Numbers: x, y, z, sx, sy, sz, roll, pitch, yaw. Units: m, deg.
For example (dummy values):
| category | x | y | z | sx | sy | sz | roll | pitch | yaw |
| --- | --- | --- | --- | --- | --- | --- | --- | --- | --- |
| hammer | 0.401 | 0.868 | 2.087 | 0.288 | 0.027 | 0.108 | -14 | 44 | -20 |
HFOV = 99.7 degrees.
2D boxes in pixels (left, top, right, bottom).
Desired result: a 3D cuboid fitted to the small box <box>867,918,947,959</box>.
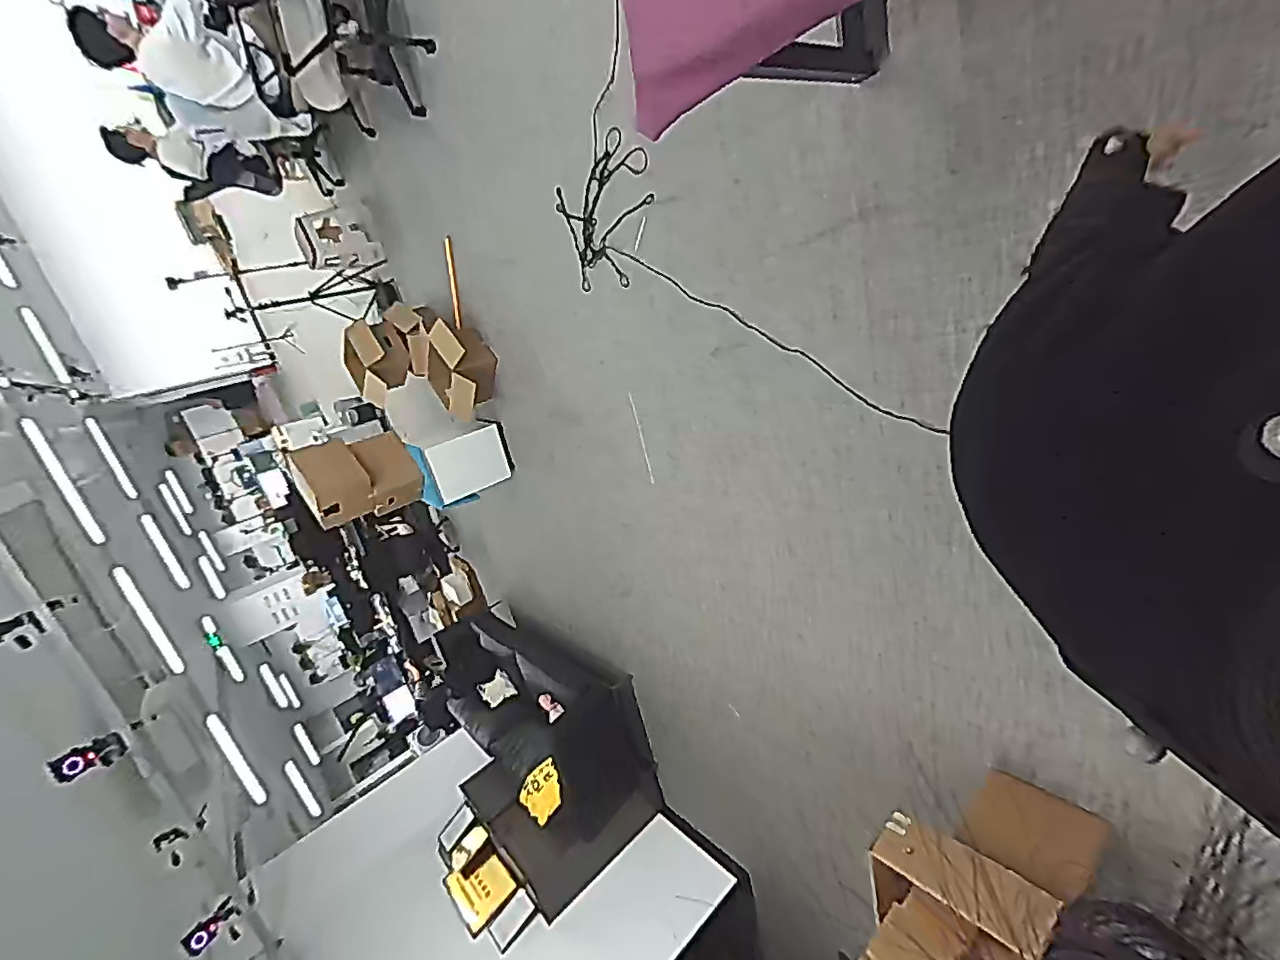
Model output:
| category | x | y | z | sx | sy | sz | roll | pitch | yaw |
| --- | --- | --- | --- | --- | --- | --- | --- | --- | --- |
| small box | 0.718 | 1.340 | 1.443 | 0.179 | 0.176 | 0.168 | 16 | 123 | 49 |
